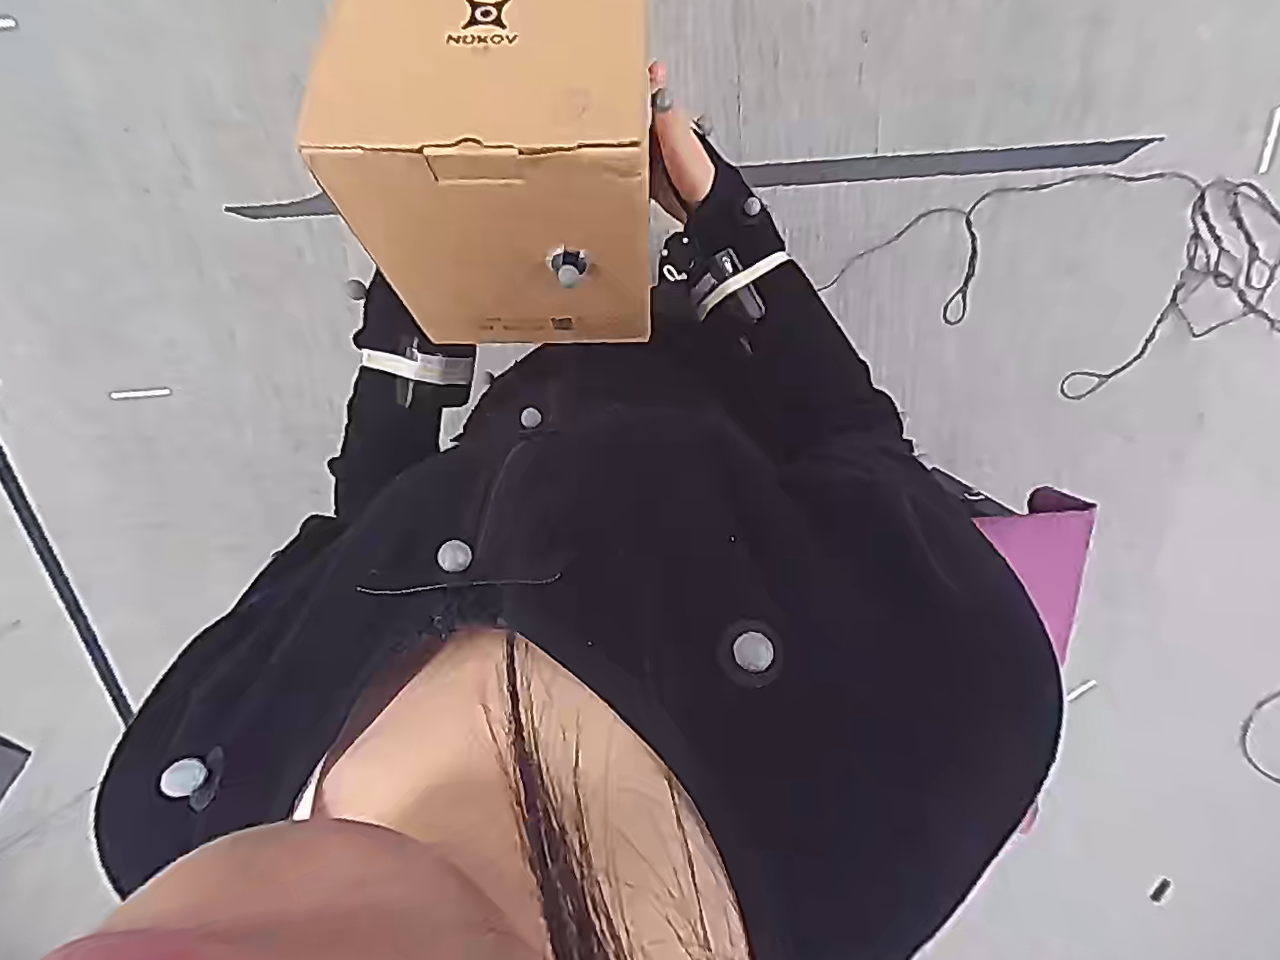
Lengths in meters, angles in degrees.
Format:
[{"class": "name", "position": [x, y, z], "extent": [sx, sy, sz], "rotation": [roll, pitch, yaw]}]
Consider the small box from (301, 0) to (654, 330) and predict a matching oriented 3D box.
[{"class": "small box", "position": [-0.075, -0.213, 0.349], "extent": [0.168, 0.176, 0.179], "rotation": [0, 72, 1]}]
